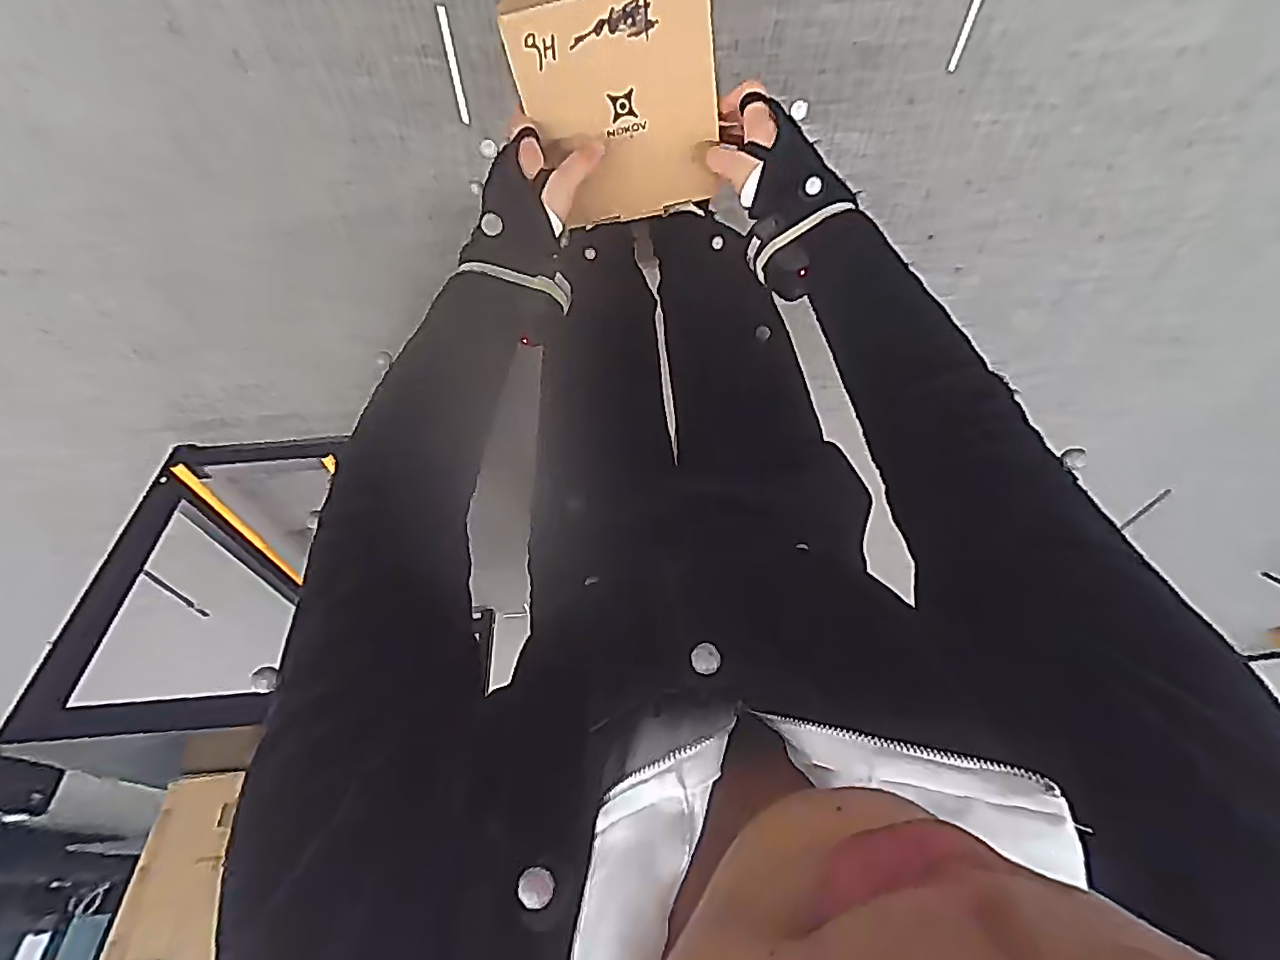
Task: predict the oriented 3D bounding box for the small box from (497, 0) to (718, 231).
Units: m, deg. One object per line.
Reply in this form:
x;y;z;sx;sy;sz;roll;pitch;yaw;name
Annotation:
-0.021;-0.379;0.521;0.168;0.176;0.179;-9;143;6;small box
